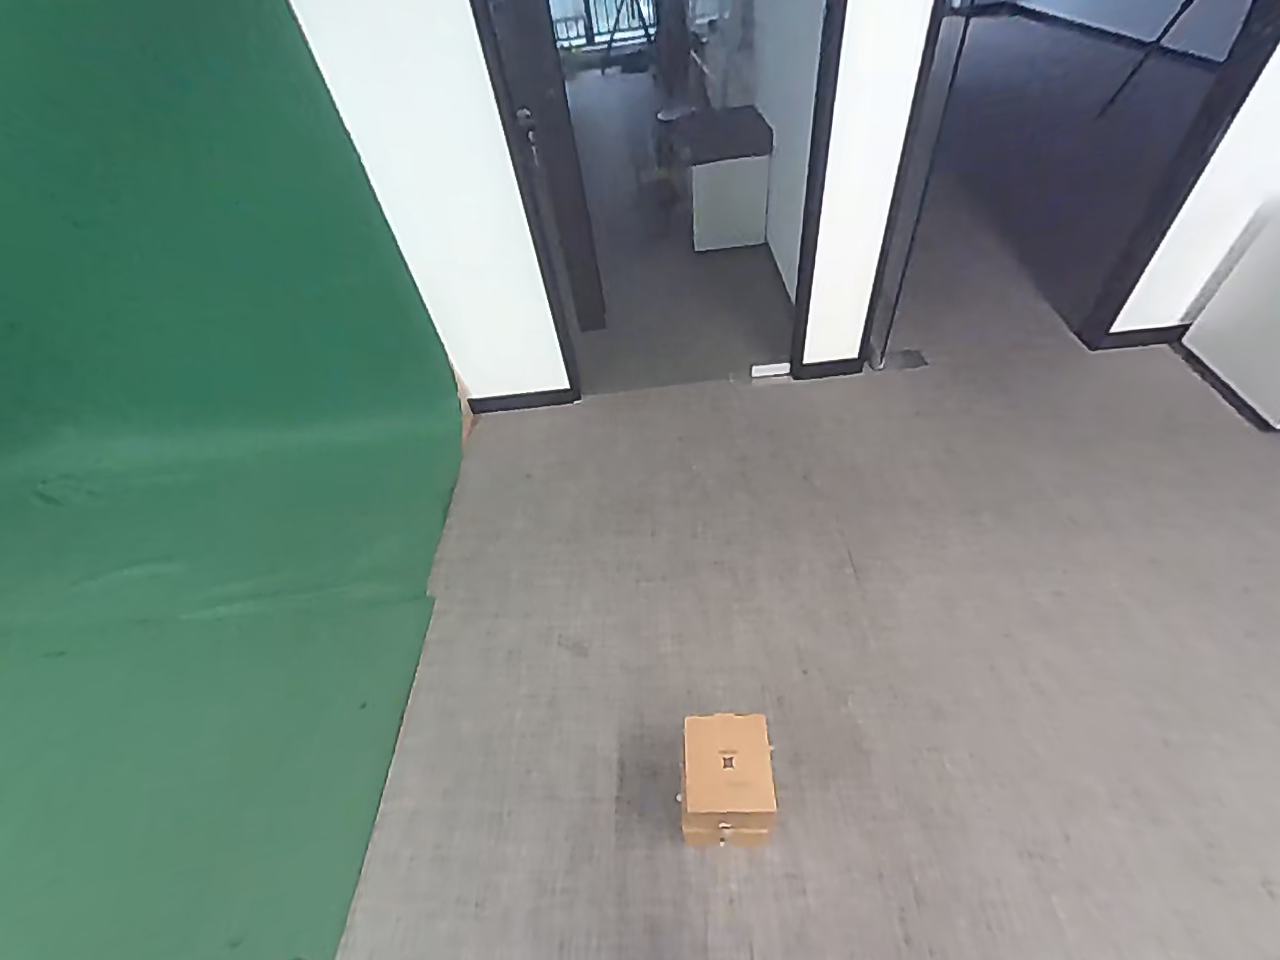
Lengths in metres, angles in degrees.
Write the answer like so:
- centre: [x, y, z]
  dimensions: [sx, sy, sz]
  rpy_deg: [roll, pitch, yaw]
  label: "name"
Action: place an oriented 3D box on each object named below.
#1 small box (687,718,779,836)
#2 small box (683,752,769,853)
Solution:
- centre: [0.185, 0.607, 1.104]
  dimensions: [0.168, 0.176, 0.179]
  rpy_deg: [-5, 47, 6]
  label: "small box"
- centre: [0.189, 0.725, 1.215]
  dimensions: [0.179, 0.176, 0.168]
  rpy_deg: [-4, 46, 7]
  label: "small box"
